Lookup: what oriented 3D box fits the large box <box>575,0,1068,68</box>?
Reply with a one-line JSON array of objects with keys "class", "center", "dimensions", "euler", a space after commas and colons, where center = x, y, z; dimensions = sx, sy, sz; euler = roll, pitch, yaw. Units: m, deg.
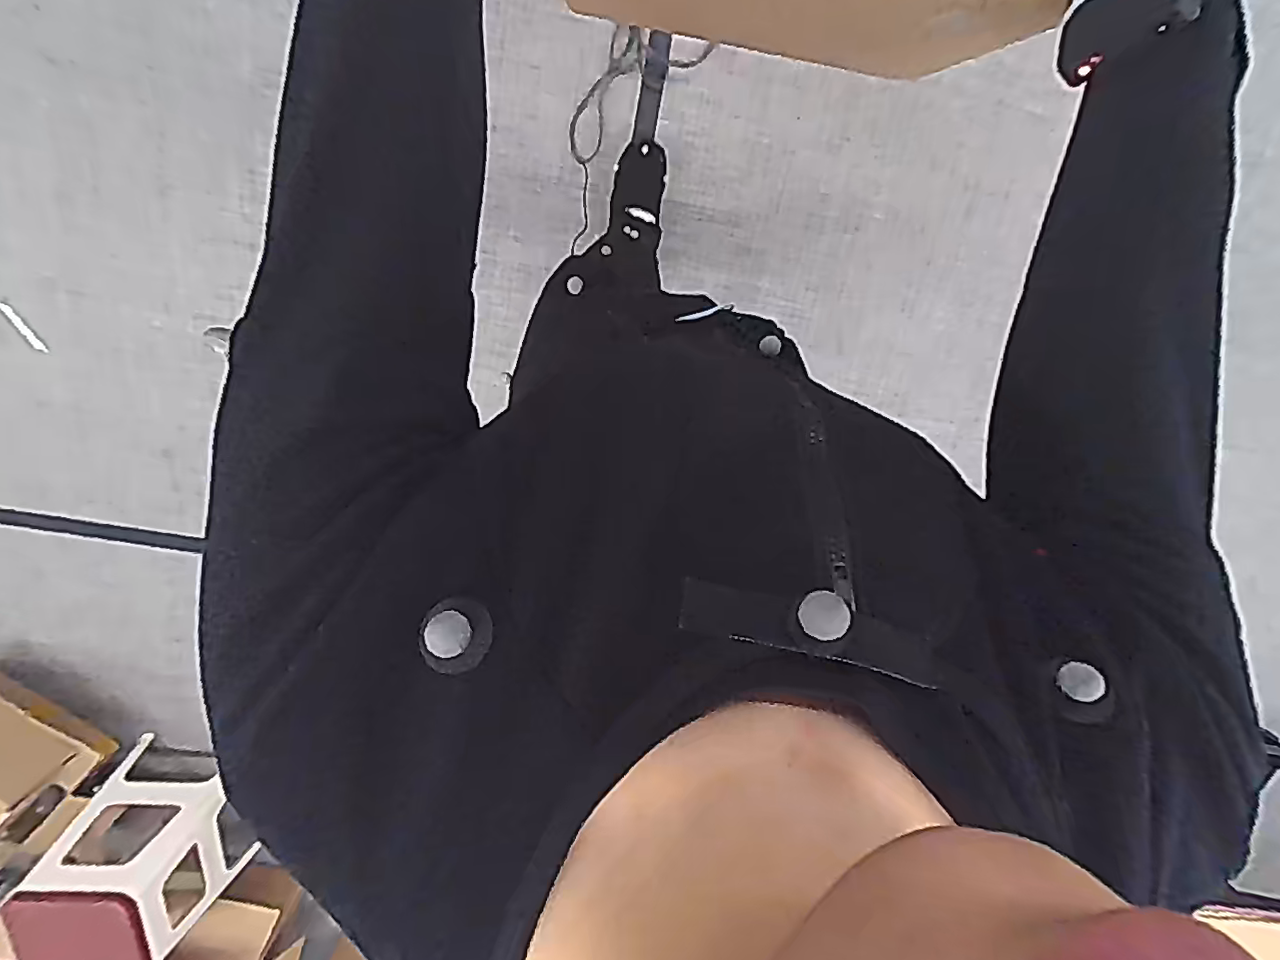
[{"class": "large box", "center": [0.138, -0.562, 0.416], "dimensions": [0.408, 0.320, 0.320], "euler": [10, 121, -3]}]
